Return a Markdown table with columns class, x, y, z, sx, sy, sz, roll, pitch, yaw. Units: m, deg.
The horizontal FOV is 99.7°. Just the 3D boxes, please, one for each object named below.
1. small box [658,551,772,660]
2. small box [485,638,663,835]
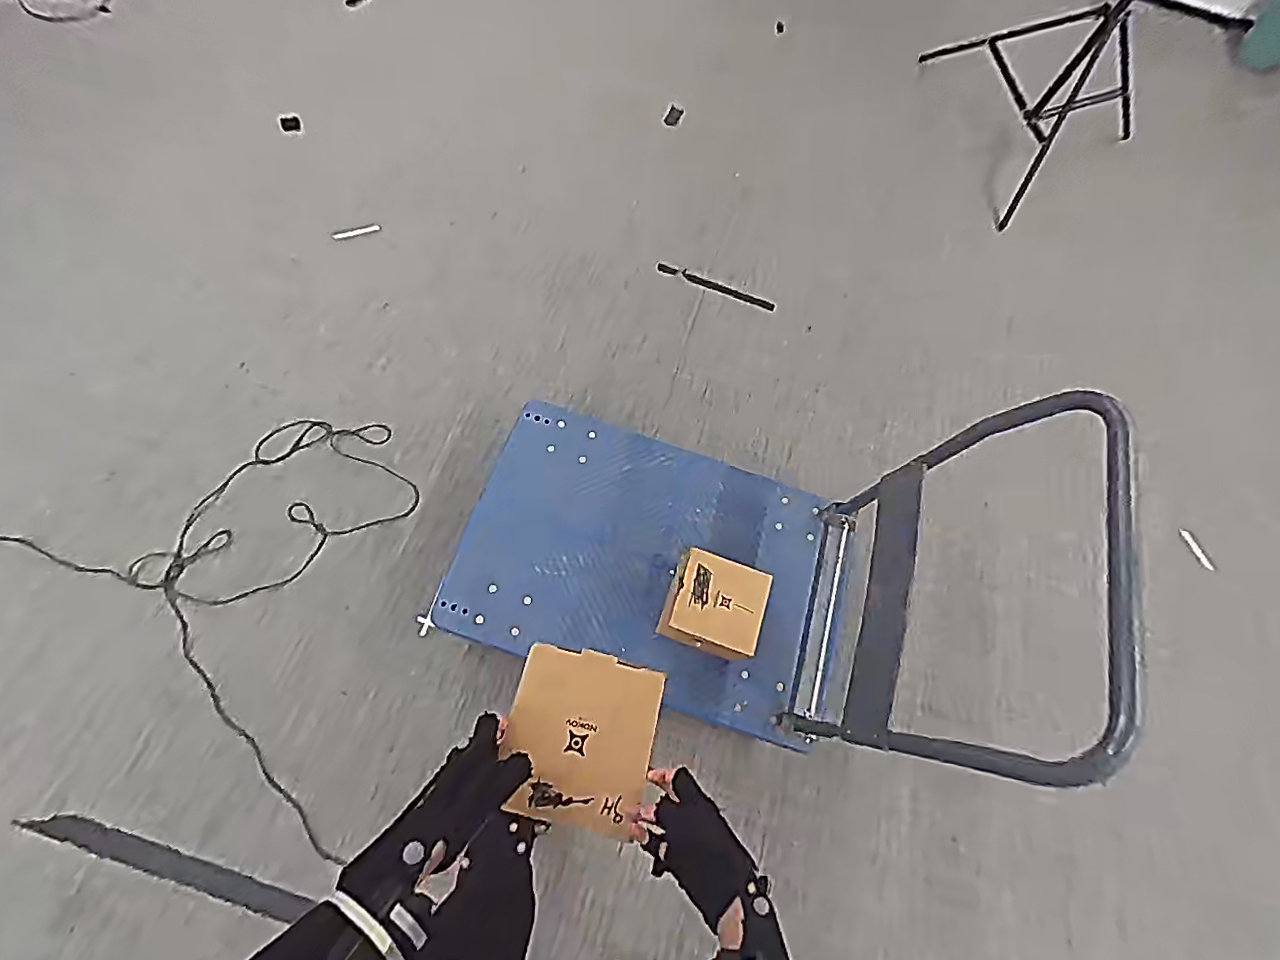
| class | x | y | z | sx | sy | sz | roll | pitch | yaw |
| --- | --- | --- | --- | --- | --- | --- | --- | --- | --- |
| small box | 0.148 | 0.270 | 1.131 | 0.179 | 0.176 | 0.168 | 21 | 68 | 1 |
| small box | -0.076 | 0.323 | 0.680 | 0.168 | 0.176 | 0.179 | 13 | 59 | 3 |
